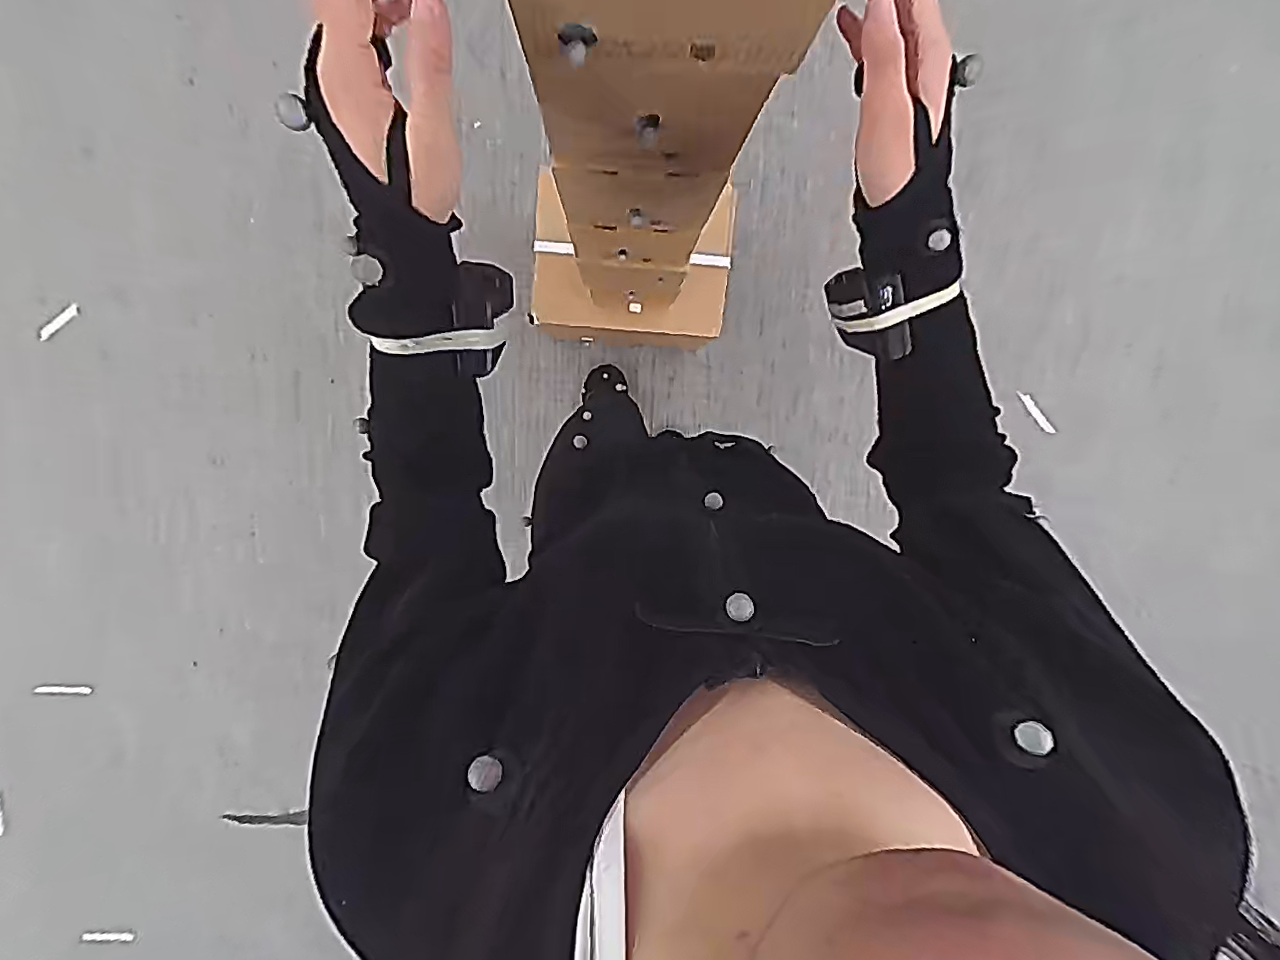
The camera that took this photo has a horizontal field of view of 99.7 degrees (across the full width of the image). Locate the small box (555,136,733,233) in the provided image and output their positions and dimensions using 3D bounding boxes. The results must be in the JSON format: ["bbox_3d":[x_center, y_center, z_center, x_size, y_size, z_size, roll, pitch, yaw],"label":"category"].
[{"bbox_3d":[0.002,-0.374,0.559,0.168,0.176,0.179,1,100,-2],"label":"small box"}]

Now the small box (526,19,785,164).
[{"bbox_3d":[0.010,-0.354,0.397,0.168,0.176,0.179,0,101,-3],"label":"small box"}]

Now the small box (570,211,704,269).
[{"bbox_3d":[-0.004,-0.396,0.722,0.168,0.176,0.179,2,99,-3],"label":"small box"}]

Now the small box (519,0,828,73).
[{"bbox_3d":[0.019,-0.317,0.236,0.168,0.176,0.179,0,99,-2],"label":"small box"}]

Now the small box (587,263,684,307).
[{"bbox_3d":[-0.009,-0.434,1.047,0.179,0.176,0.168,1,100,-3],"label":"small box"}]
